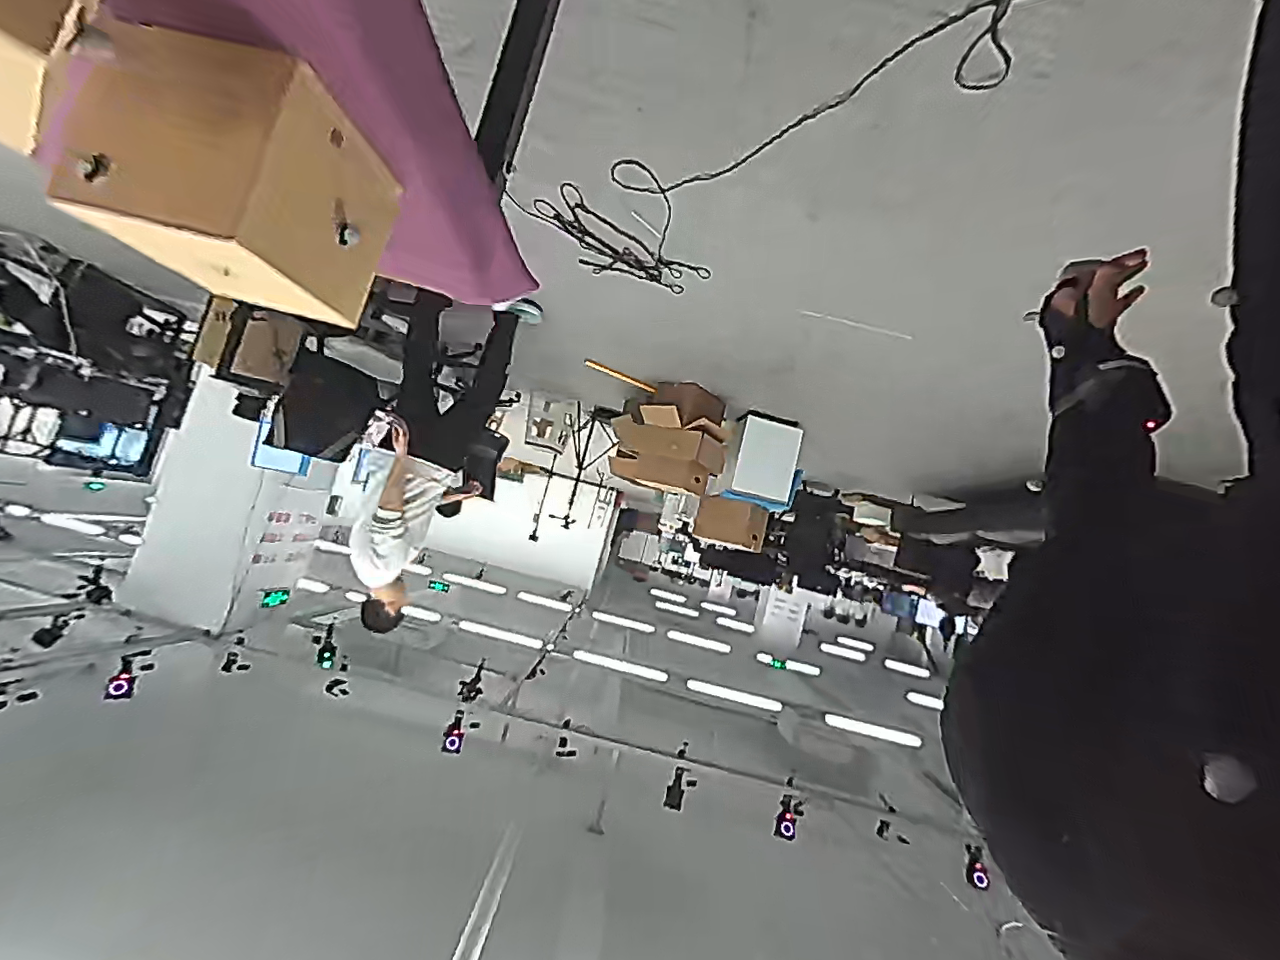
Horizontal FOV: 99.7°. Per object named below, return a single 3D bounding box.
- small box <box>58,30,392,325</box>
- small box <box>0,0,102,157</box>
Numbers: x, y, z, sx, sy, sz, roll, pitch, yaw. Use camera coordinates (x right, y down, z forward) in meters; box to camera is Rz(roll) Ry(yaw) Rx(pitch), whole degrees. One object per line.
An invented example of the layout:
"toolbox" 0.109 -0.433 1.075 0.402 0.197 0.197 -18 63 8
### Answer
"small box" -0.362 -0.272 0.510 0.179 0.176 0.168 15 174 6
"small box" -0.353 -0.295 0.243 0.179 0.176 0.168 10 172 39
